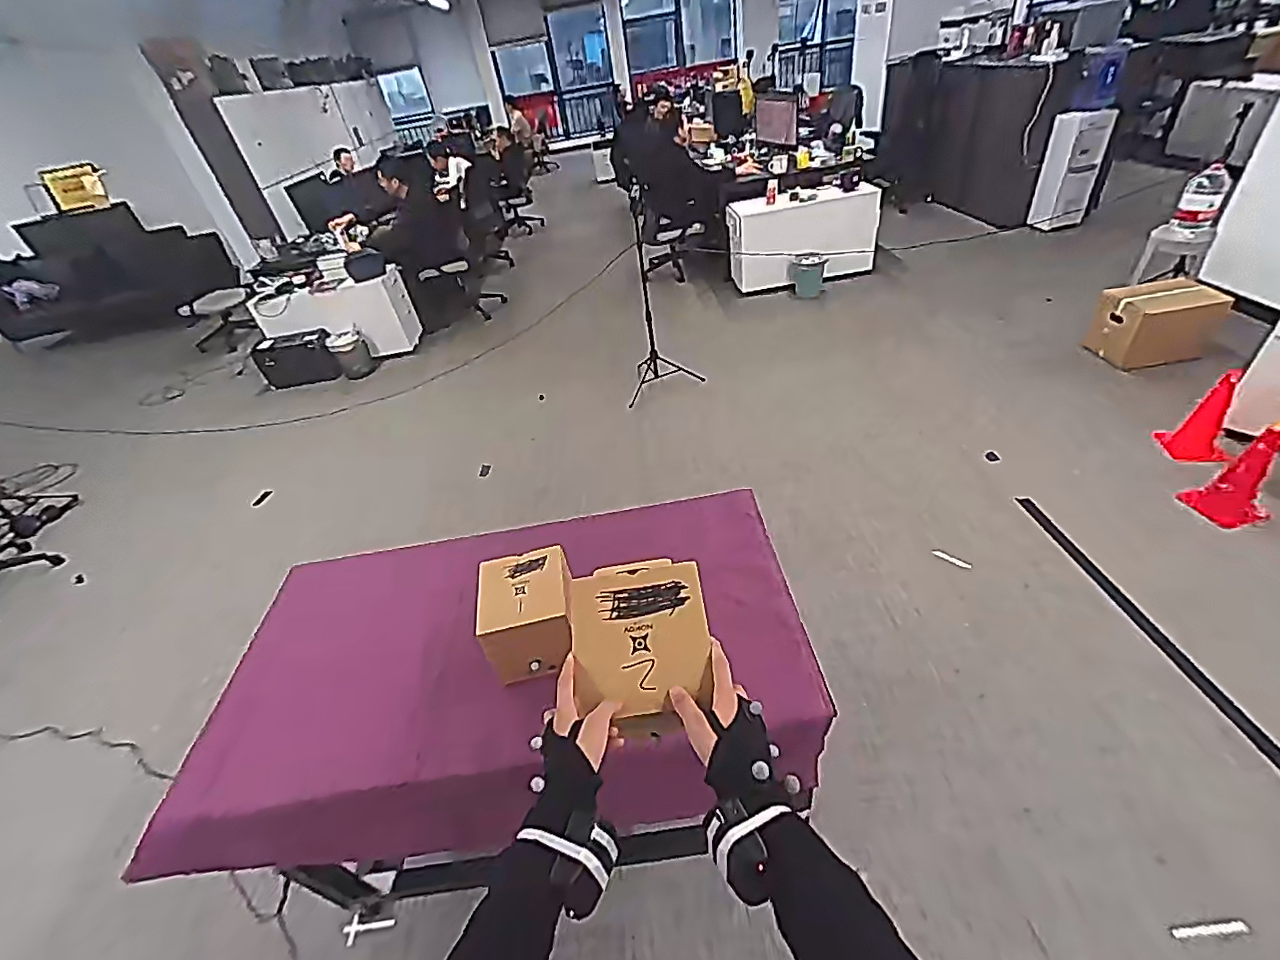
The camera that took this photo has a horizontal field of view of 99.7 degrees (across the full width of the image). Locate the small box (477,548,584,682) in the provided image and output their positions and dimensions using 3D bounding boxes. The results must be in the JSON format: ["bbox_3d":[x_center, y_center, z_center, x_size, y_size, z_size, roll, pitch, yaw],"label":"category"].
[{"bbox_3d":[-0.212,0.267,1.075,0.168,0.176,0.179,-13,39,-2],"label":"small box"}]
